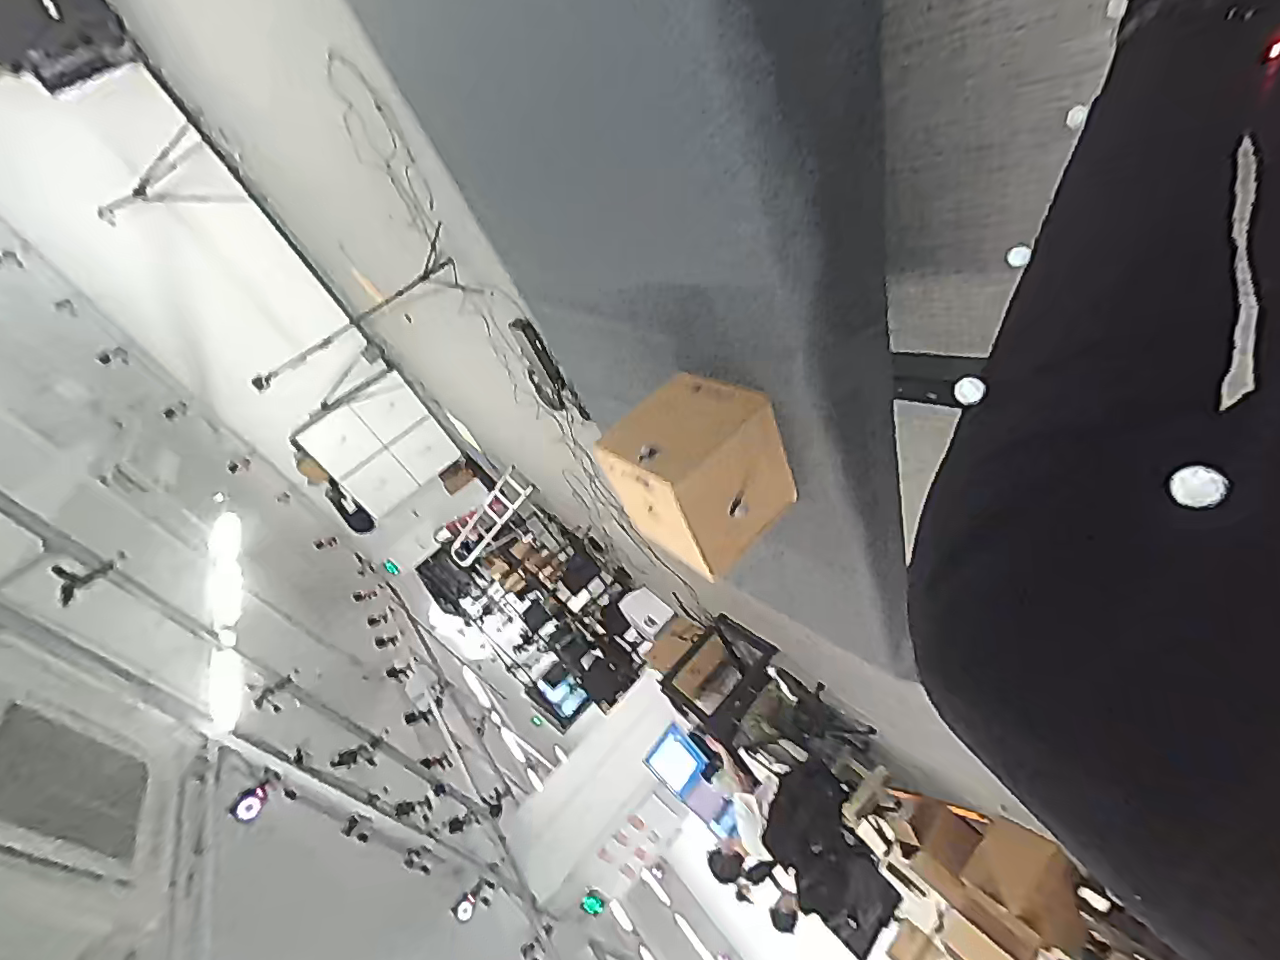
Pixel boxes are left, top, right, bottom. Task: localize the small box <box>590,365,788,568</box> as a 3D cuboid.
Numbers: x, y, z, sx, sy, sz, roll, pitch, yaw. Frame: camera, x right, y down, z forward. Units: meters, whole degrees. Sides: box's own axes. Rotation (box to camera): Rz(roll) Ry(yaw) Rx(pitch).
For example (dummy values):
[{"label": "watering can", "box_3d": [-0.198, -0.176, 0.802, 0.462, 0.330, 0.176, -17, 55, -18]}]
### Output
[{"label": "small box", "box_3d": [0.072, -0.024, 0.716, 0.168, 0.176, 0.179, 28, 154, 48]}]
